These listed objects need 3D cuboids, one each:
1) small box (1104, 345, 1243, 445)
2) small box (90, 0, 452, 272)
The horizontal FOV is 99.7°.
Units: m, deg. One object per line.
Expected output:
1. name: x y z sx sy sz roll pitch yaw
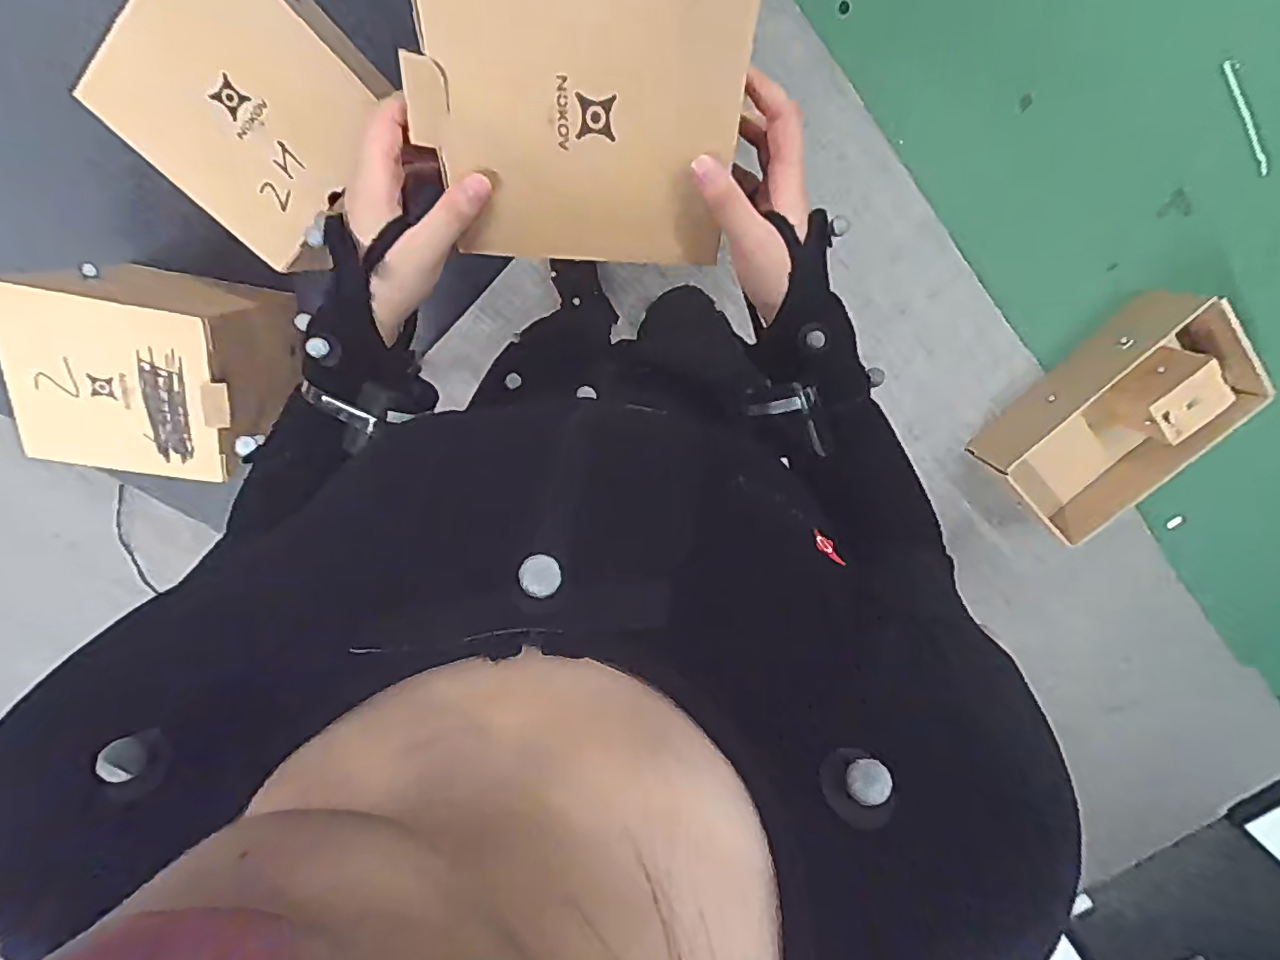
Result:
1. small box: 1.401 -0.232 1.430 0.168 0.176 0.179 39 107 -21
2. small box: -0.305 -0.316 0.491 0.168 0.176 0.179 -41 111 15
